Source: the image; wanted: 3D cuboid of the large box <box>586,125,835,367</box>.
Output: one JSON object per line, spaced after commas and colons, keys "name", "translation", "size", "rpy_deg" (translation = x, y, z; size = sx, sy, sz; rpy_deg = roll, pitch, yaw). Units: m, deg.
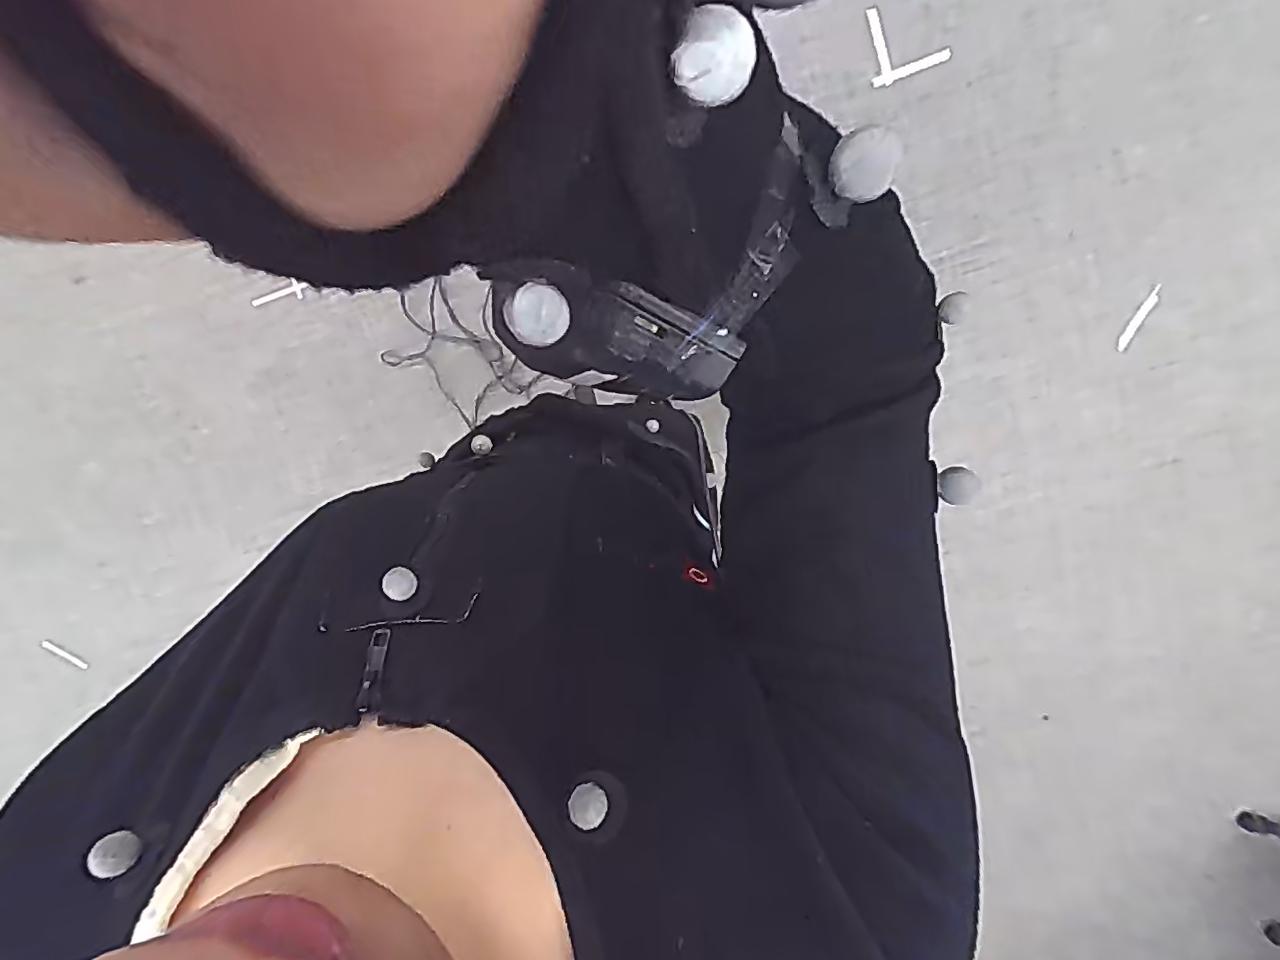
{"name": "large box", "translation": [0.134, -0.458, 1.150], "size": [0.408, 0.320, 0.320], "rpy_deg": [-17, 99, 3]}
